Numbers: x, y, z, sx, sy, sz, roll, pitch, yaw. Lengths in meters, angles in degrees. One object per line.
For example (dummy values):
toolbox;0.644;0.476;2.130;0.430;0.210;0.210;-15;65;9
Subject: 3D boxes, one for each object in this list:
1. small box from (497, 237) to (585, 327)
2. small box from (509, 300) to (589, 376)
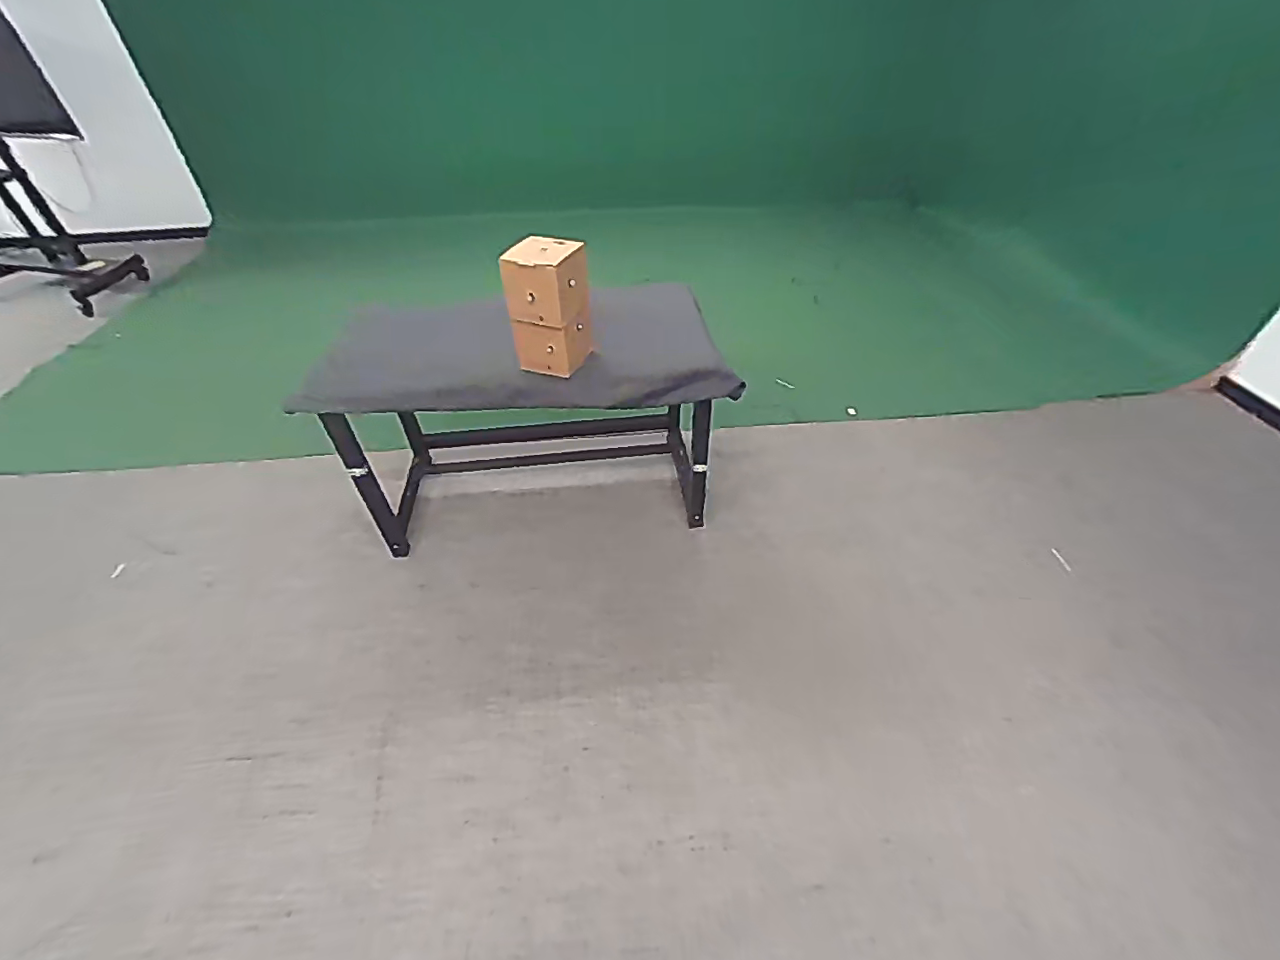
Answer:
small box;-0.257;-0.536;1.465;0.168;0.176;0.179;14;46;15
small box;-0.257;-0.425;1.586;0.168;0.176;0.179;14;44;14
